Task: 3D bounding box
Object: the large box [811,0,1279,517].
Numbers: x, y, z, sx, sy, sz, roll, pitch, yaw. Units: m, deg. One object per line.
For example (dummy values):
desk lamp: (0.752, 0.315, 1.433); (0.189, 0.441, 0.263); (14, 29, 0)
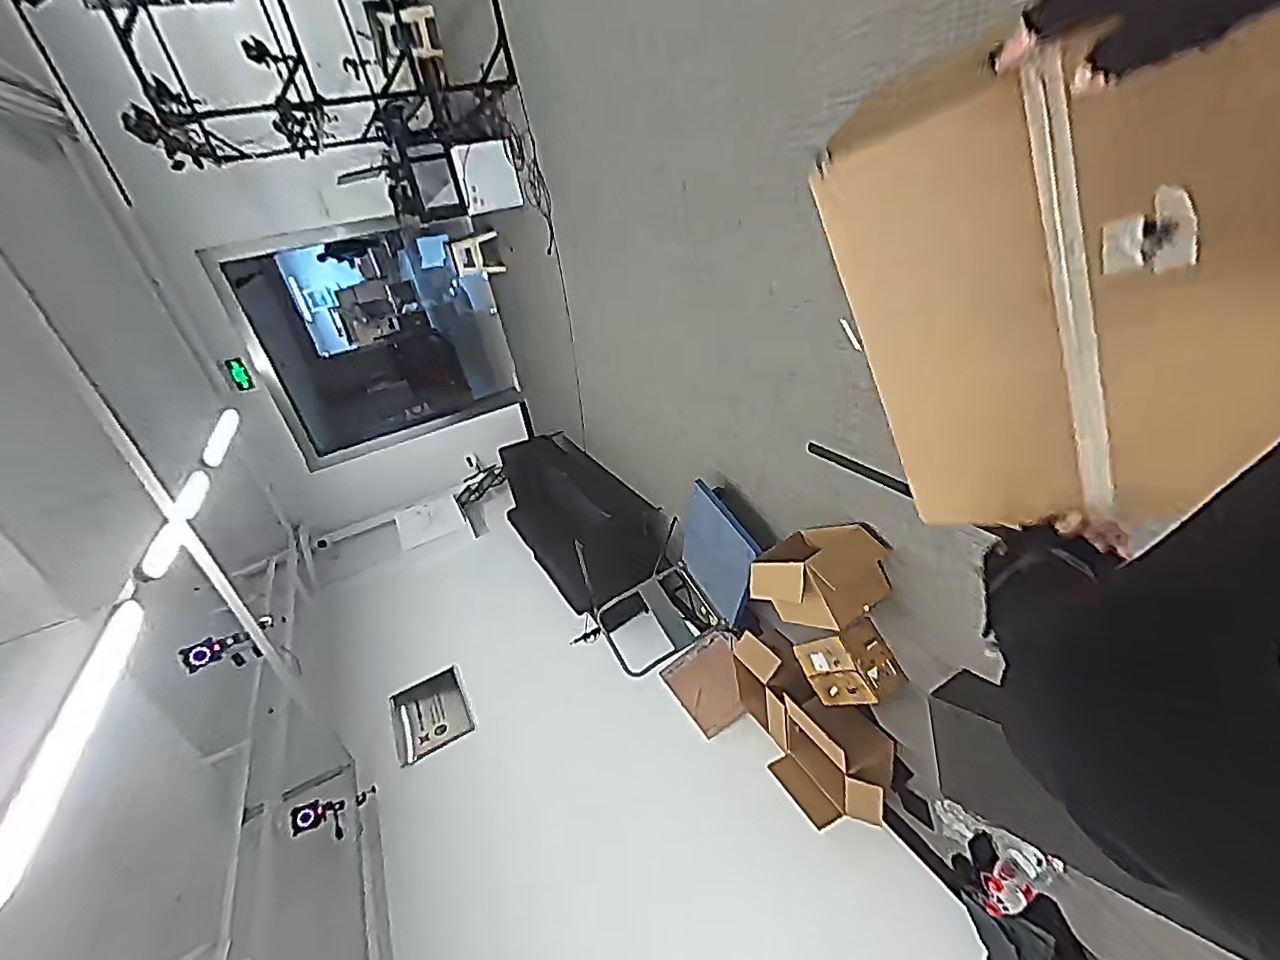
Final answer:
large box: (0.424, -0.217, 0.523); (0.320, 0.320, 0.408); (-9, 123, 42)
